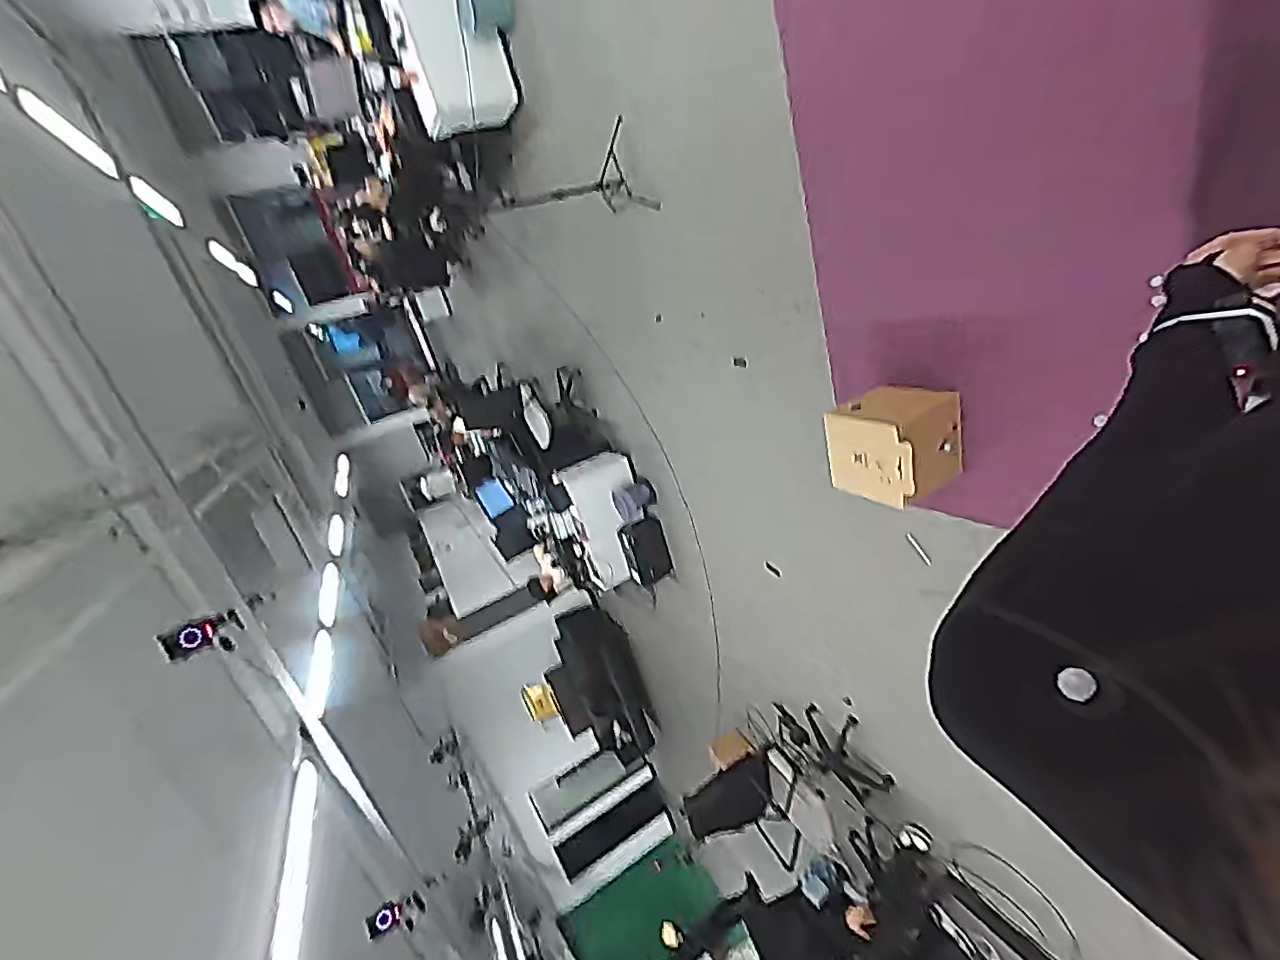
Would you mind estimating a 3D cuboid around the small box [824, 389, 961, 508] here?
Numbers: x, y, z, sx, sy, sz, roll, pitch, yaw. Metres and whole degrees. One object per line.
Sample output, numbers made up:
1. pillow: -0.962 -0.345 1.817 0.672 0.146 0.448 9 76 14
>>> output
1. small box: 0.491 -0.071 1.054 0.179 0.176 0.168 25 136 59
